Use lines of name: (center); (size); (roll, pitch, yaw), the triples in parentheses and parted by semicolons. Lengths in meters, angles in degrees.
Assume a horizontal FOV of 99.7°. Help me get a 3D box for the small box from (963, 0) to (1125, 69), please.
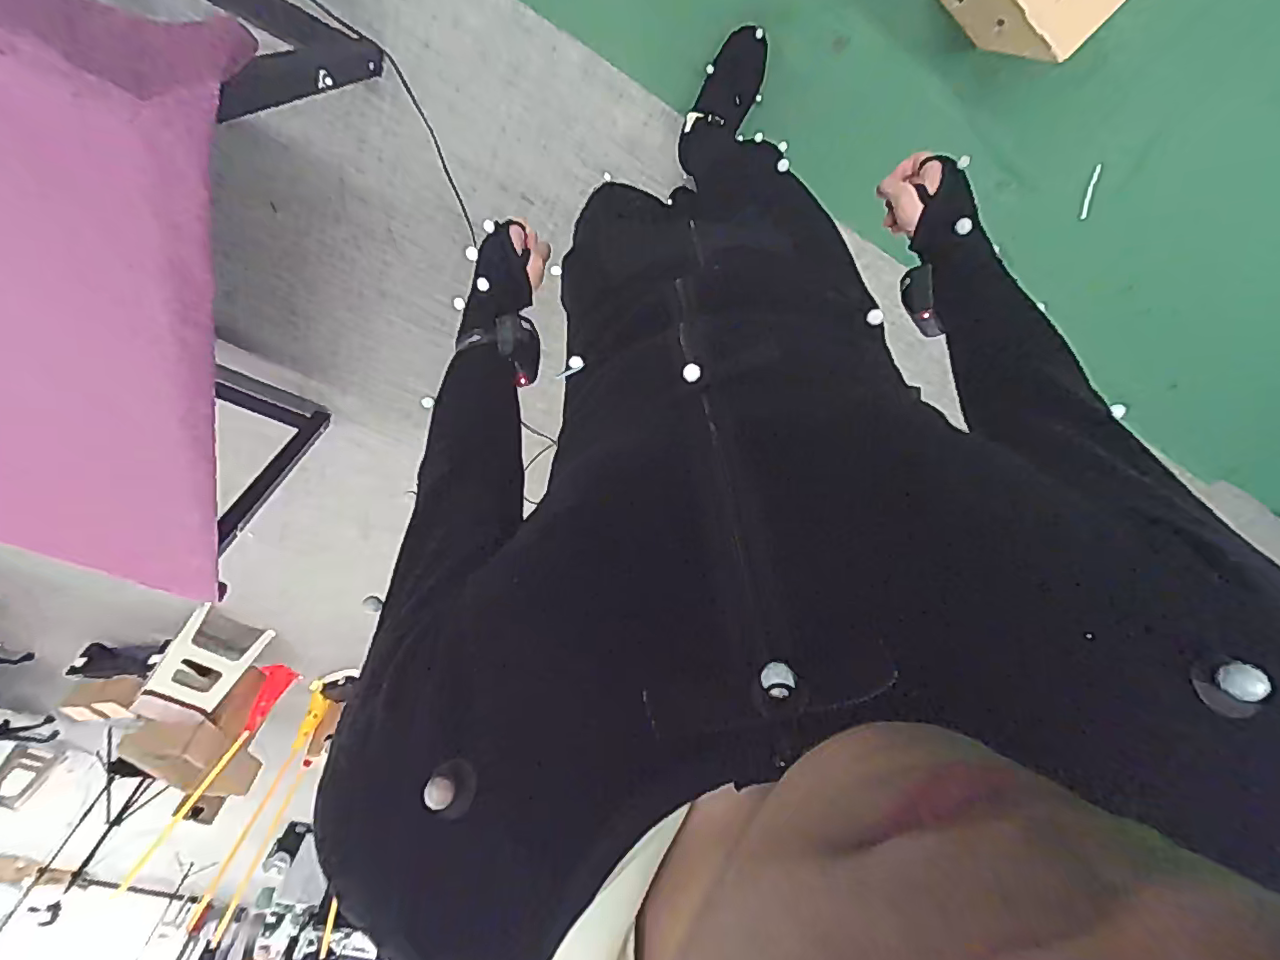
small box: (0.661, -0.806, 0.858); (0.168, 0.176, 0.179); (30, 128, -20)
